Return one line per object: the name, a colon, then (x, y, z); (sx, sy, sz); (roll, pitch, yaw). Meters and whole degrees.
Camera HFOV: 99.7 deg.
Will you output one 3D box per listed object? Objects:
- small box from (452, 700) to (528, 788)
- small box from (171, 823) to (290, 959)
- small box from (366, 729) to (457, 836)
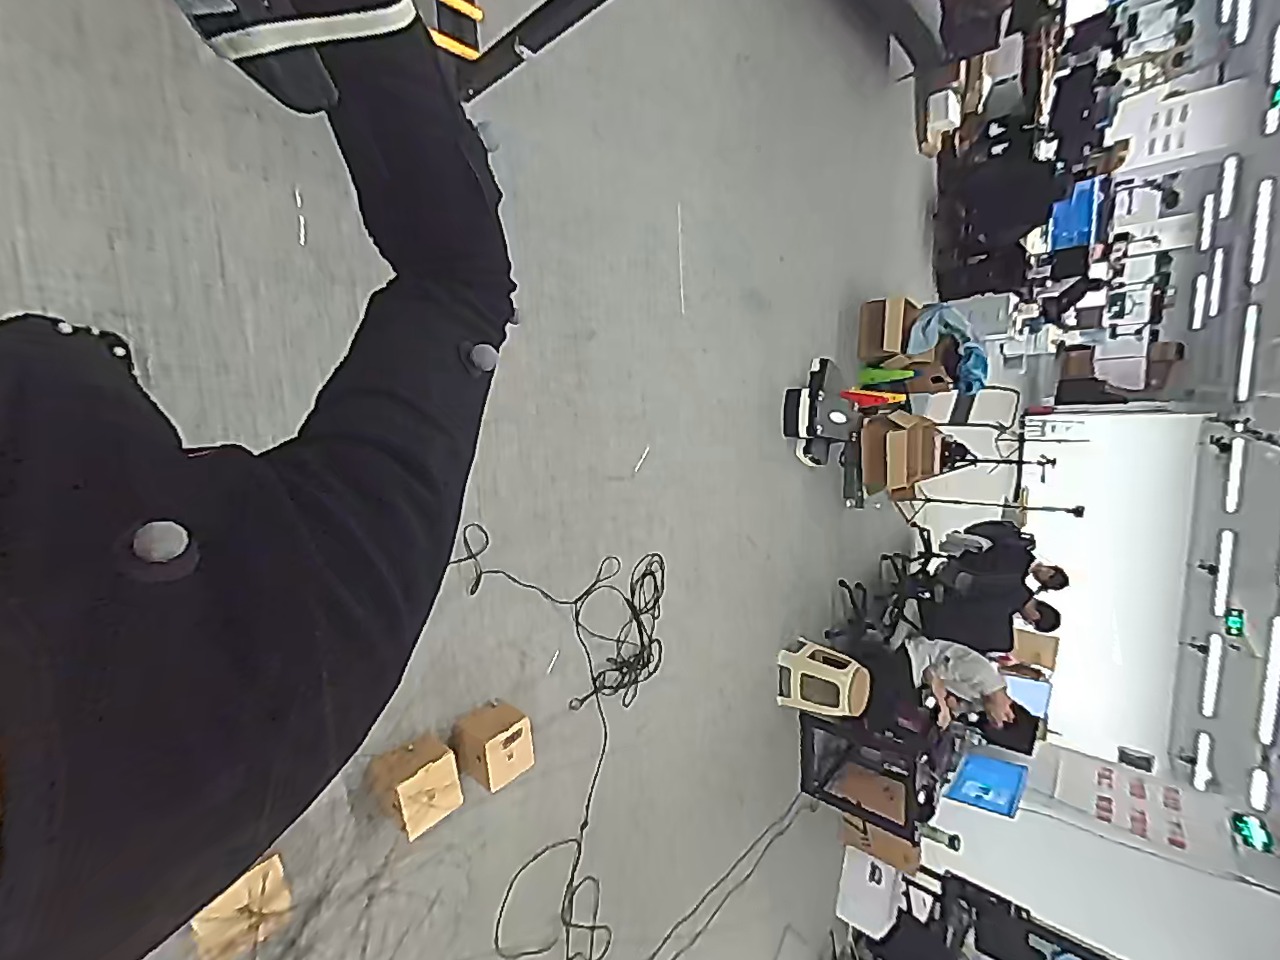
small box: (-0.483, 0.832, 1.732); (0.168, 0.176, 0.179); (-16, 106, -48)
small box: (-0.929, 0.921, 1.224); (0.168, 0.176, 0.179); (-18, 107, -46)
small box: (-0.651, 0.850, 1.540); (0.168, 0.176, 0.179); (-20, 108, -47)
